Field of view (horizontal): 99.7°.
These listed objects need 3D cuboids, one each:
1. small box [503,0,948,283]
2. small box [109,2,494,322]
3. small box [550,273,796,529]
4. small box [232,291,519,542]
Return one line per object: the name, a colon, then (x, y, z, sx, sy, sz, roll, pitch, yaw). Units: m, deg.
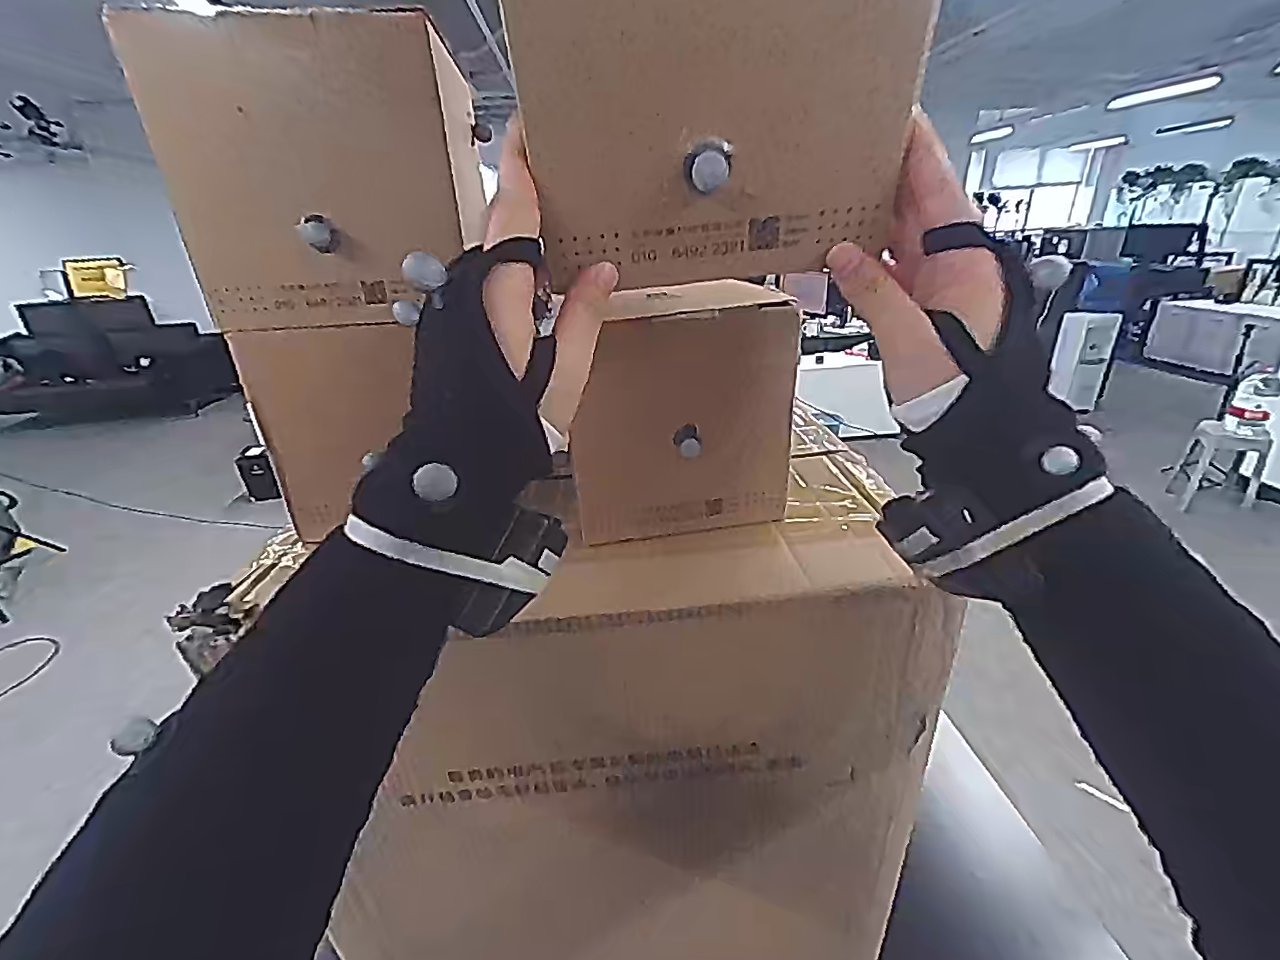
small box: (0.027, -0.214, 0.264, 0.168, 0.176, 0.179, -6, 43, 0)
small box: (-0.208, -0.213, 0.399, 0.168, 0.176, 0.179, -5, 26, -6)
small box: (0.018, -0.069, 0.457, 0.168, 0.176, 0.179, -8, 27, -7)
small box: (-0.201, -0.065, 0.472, 0.168, 0.176, 0.179, -6, 27, -8)
